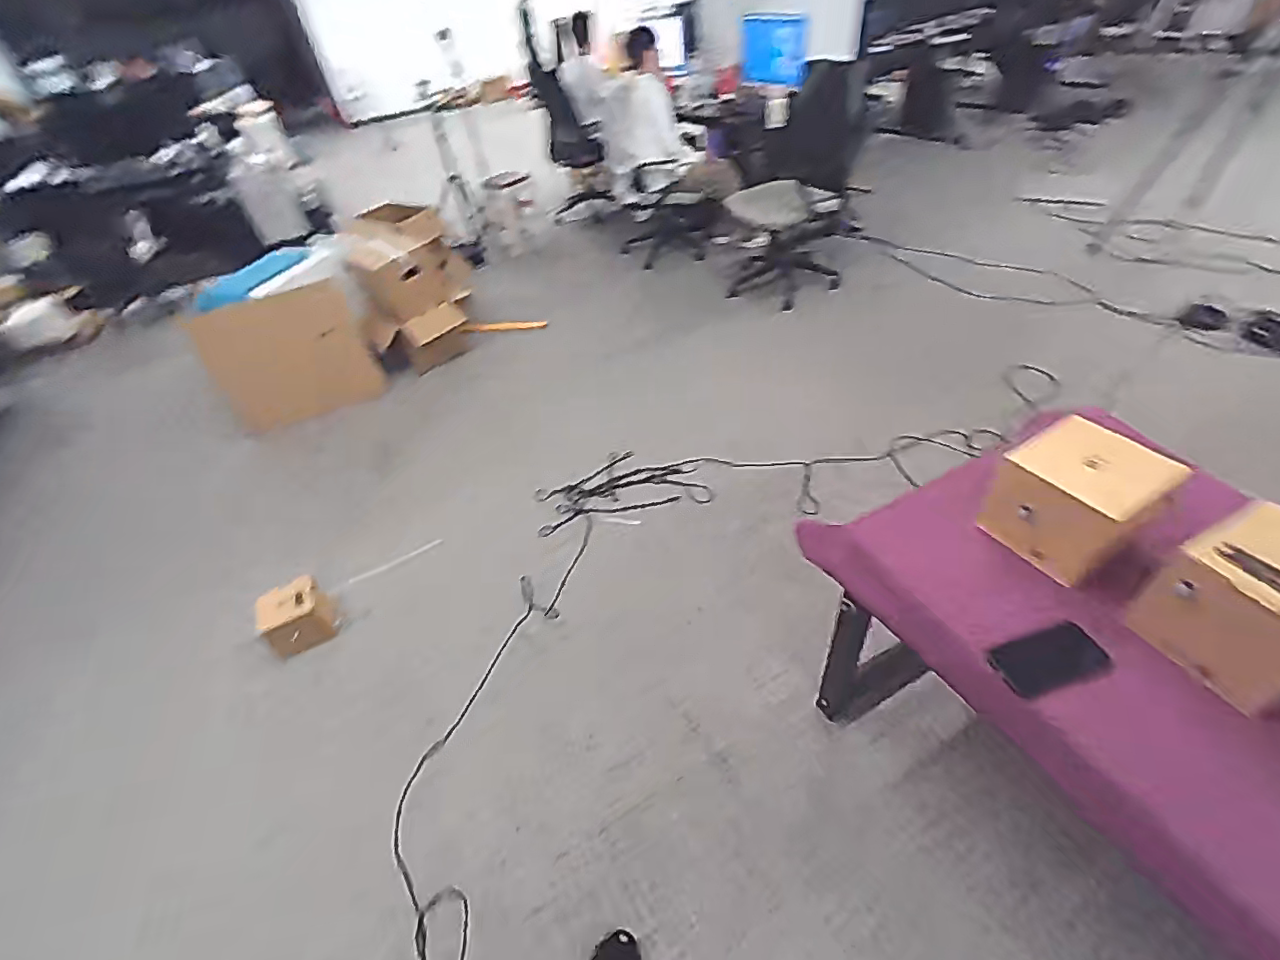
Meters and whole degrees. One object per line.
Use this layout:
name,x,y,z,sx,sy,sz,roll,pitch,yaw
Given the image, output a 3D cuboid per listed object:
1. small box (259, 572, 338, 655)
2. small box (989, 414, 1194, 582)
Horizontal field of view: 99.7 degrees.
small box,-1.129,0.445,1.800,0.179,0.176,0.168,-25,45,-15
small box,0.694,0.030,0.859,0.179,0.176,0.168,-25,45,-16
